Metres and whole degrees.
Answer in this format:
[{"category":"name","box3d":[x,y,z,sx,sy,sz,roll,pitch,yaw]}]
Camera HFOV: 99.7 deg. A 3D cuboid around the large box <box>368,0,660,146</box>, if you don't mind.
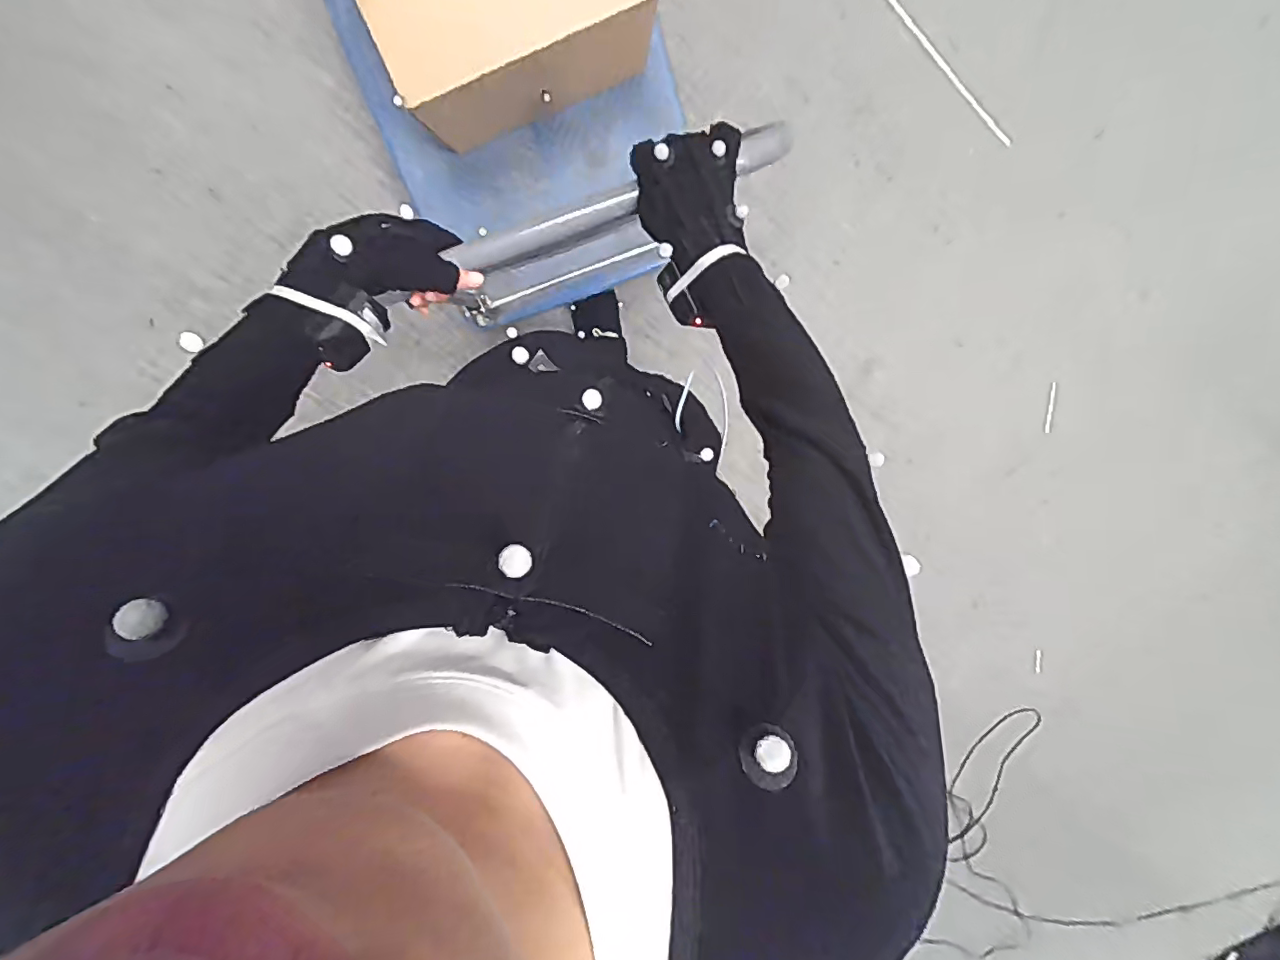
[{"category":"large box","box3d":[-0.213,-0.814,0.876,0.408,0.320,0.320,-22,110,5]}]
